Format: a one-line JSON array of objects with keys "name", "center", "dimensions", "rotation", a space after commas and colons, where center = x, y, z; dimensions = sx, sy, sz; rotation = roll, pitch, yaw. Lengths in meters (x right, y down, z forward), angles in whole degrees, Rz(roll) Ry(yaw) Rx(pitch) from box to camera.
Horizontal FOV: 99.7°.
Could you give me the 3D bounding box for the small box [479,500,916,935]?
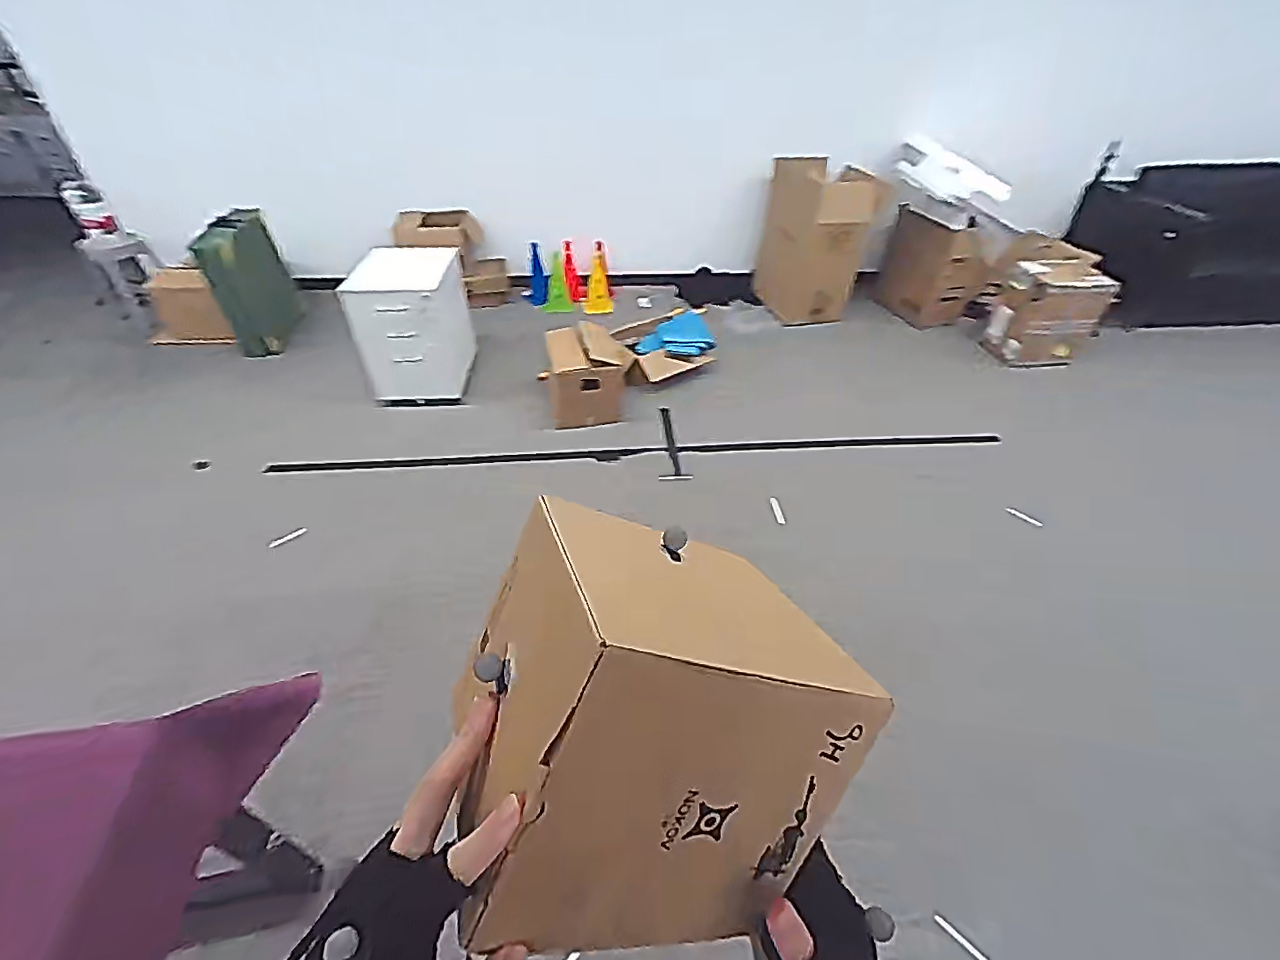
[{"name": "small box", "center": [0.012, 0.127, 0.331], "dimensions": [0.179, 0.168, 0.176], "rotation": [20, 11, -23]}]
